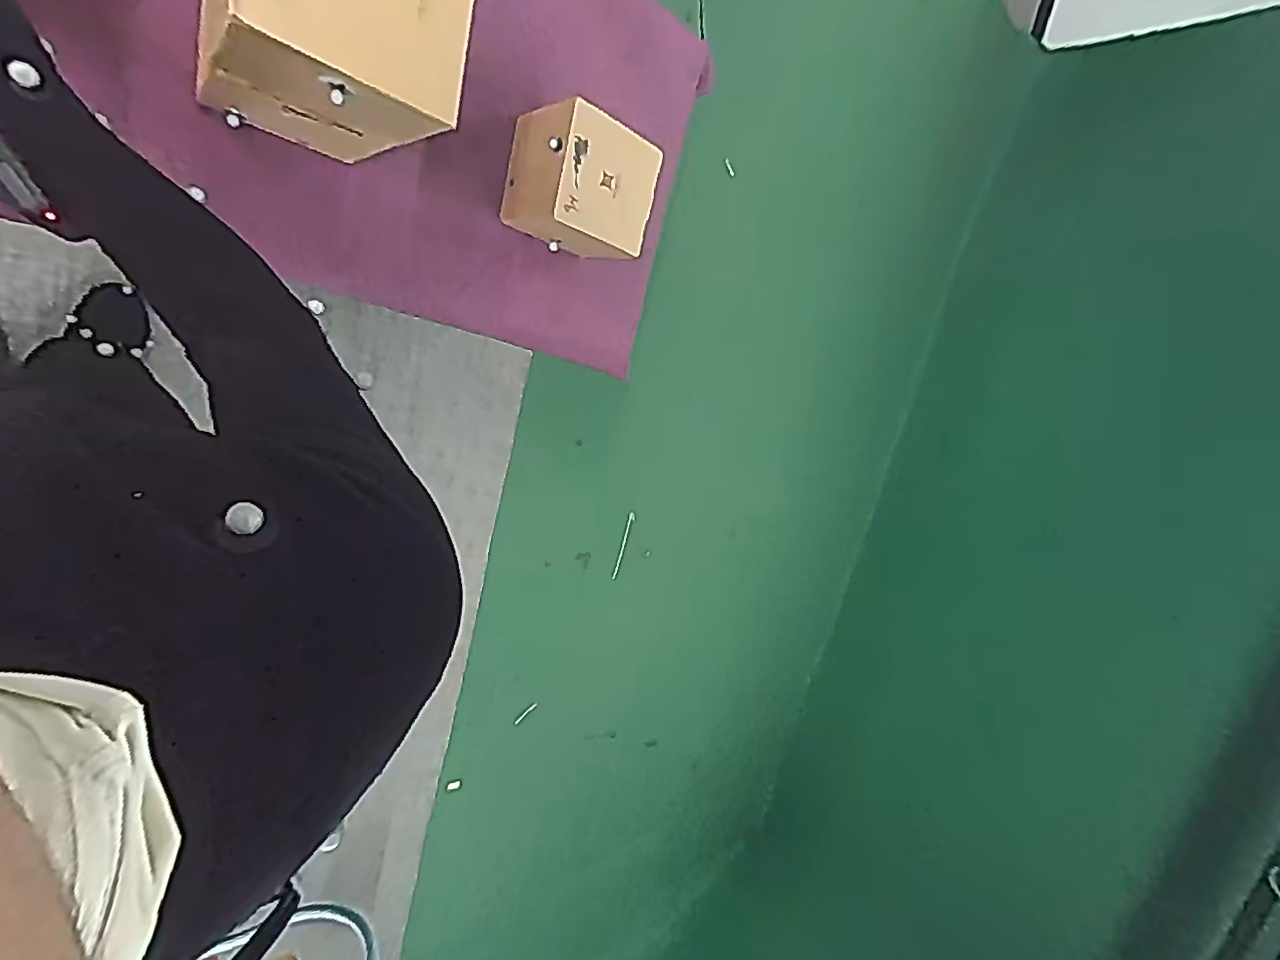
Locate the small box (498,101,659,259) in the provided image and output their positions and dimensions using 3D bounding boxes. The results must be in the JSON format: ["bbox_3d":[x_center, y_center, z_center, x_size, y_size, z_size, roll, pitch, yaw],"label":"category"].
[{"bbox_3d":[-0.102,-0.473,0.879,0.179,0.176,0.168,3,105,-45],"label":"small box"}]

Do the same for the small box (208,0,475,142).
[{"bbox_3d":[-0.272,-0.435,0.492,0.179,0.176,0.168,2,107,-46],"label":"small box"}]

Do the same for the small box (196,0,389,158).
[{"bbox_3d":[-0.379,-0.488,0.603,0.168,0.176,0.179,2,106,-45],"label":"small box"}]
